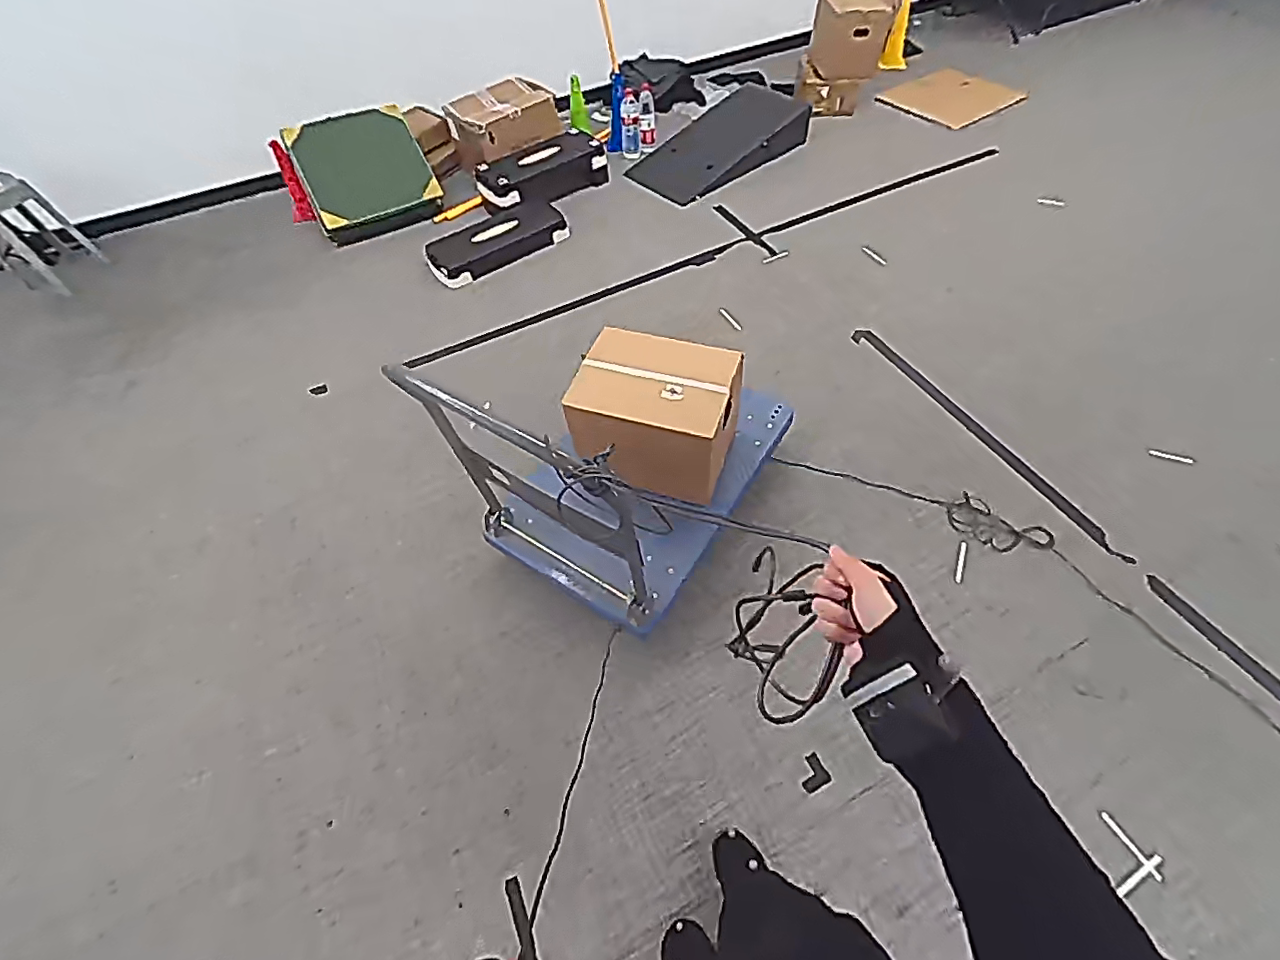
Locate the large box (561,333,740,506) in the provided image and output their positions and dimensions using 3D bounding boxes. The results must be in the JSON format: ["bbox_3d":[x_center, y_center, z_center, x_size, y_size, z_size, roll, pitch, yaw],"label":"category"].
[{"bbox_3d":[0.038,-0.169,1.526,0.408,0.320,0.320,14,58,13],"label":"large box"}]
